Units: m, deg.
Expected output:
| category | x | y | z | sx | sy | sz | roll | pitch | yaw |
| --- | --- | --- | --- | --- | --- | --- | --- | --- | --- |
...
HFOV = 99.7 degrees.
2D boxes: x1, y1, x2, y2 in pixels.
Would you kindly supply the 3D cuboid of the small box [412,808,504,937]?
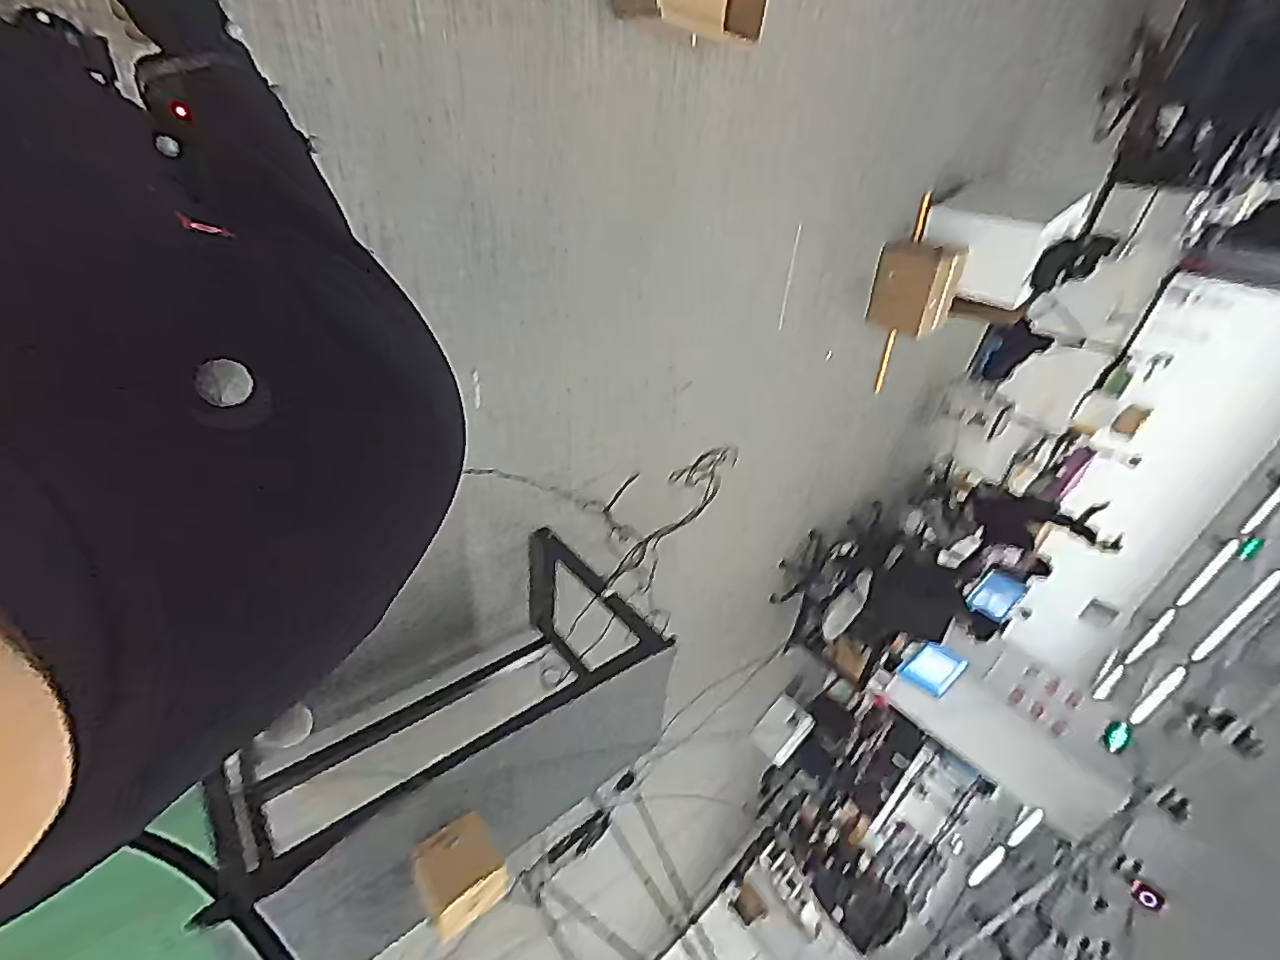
| category | x | y | z | sx | sy | sz | roll | pitch | yaw |
| --- | --- | --- | --- | --- | --- | --- | --- | --- | --- |
| small box | -0.462 | 0.978 | 1.362 | 0.168 | 0.176 | 0.179 | -16 | 129 | -39 |
